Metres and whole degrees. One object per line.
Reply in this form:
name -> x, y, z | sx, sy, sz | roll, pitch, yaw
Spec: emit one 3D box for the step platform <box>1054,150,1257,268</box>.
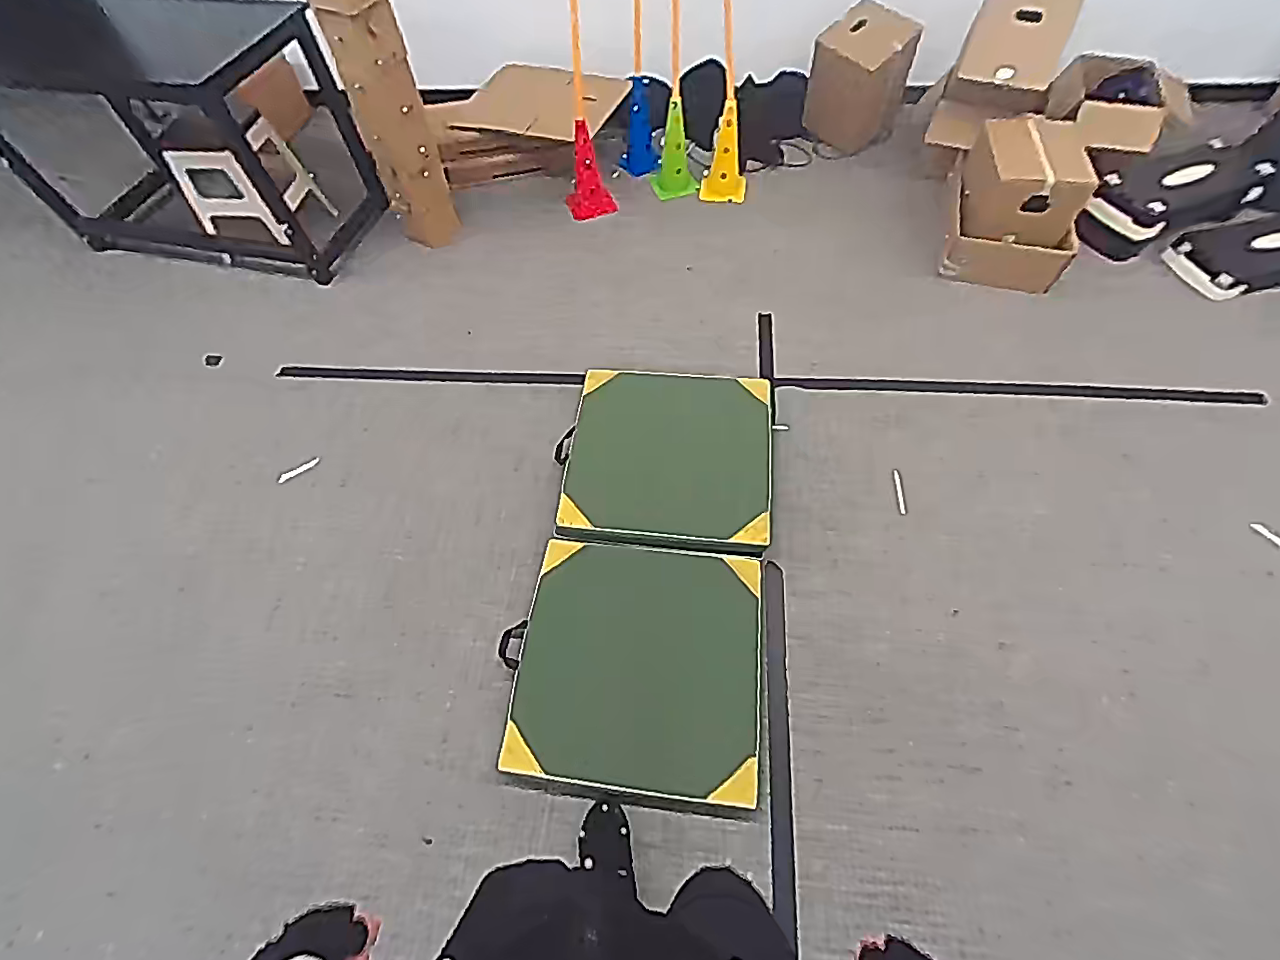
step platform -> 2.067, -1.096, 2.173 | 0.684, 0.204, 0.286 | -22, 60, -10
